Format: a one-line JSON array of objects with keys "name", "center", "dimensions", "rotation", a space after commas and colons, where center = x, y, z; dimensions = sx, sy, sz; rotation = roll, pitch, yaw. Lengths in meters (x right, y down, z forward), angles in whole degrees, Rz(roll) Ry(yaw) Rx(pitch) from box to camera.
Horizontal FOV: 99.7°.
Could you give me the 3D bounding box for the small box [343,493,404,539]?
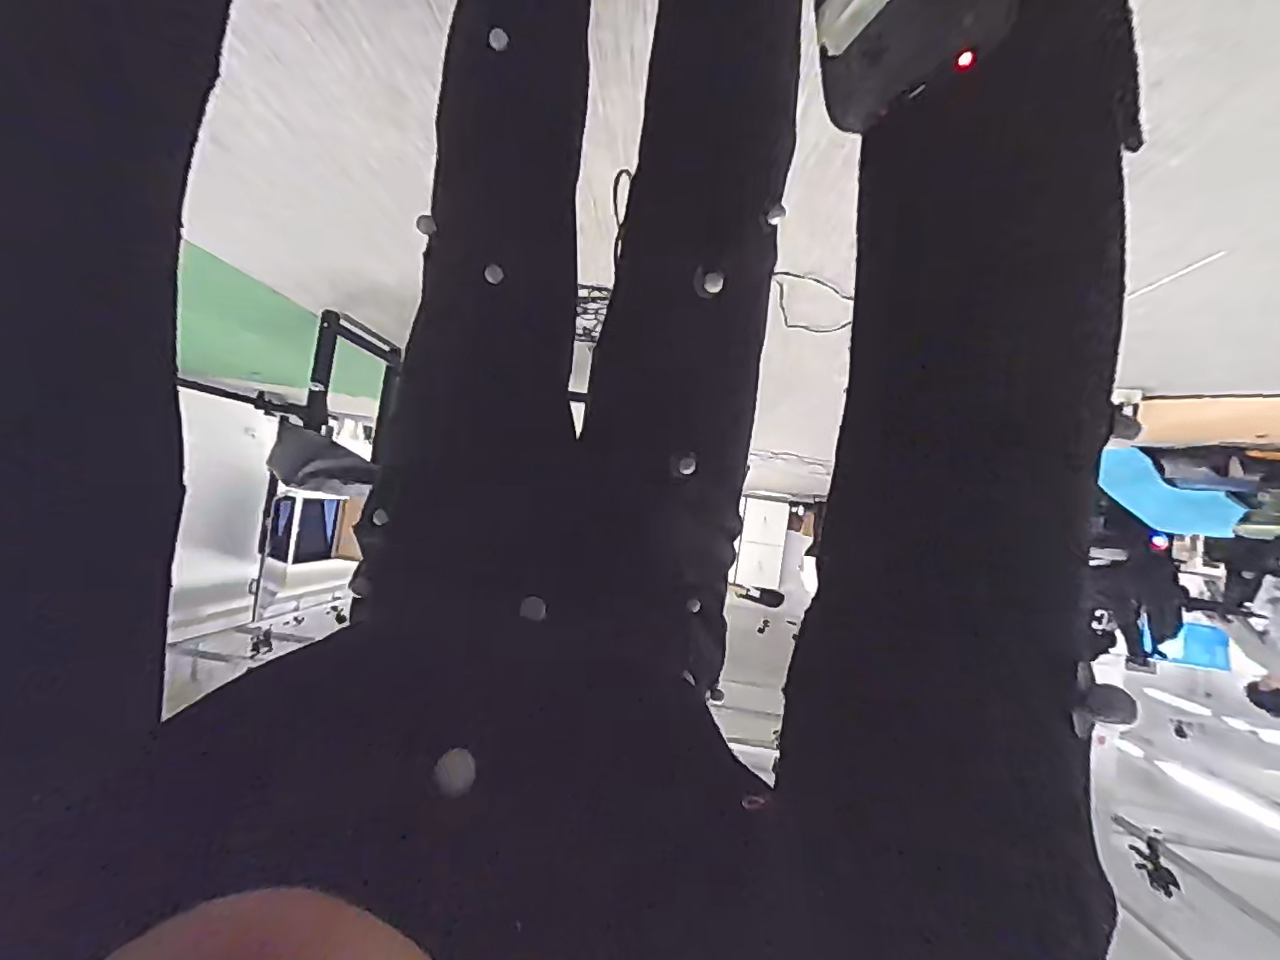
[{"name": "small box", "center": [-1.116, 0.148, 2.280], "dimensions": [0.179, 0.176, 0.168], "rotation": [9, 178, 1]}]
